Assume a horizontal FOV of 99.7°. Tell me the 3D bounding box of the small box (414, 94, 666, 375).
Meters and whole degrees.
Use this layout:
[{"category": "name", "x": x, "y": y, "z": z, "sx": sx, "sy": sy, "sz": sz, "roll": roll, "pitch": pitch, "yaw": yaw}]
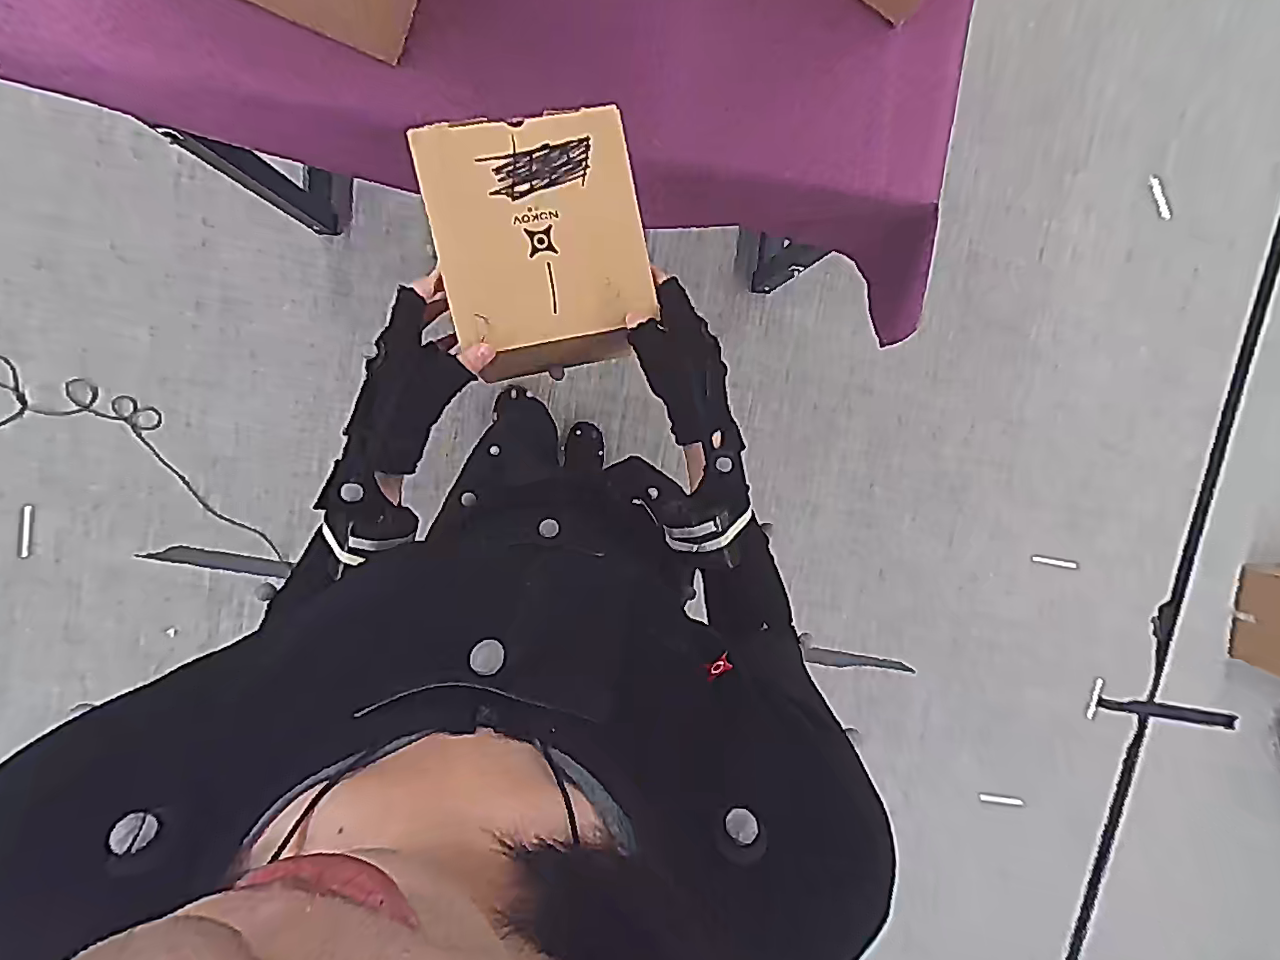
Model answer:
[{"category": "small box", "x": -0.088, "y": -0.206, "z": 0.497, "sx": 0.168, "sy": 0.176, "sz": 0.179, "roll": -13, "pitch": 95, "yaw": -9}]
